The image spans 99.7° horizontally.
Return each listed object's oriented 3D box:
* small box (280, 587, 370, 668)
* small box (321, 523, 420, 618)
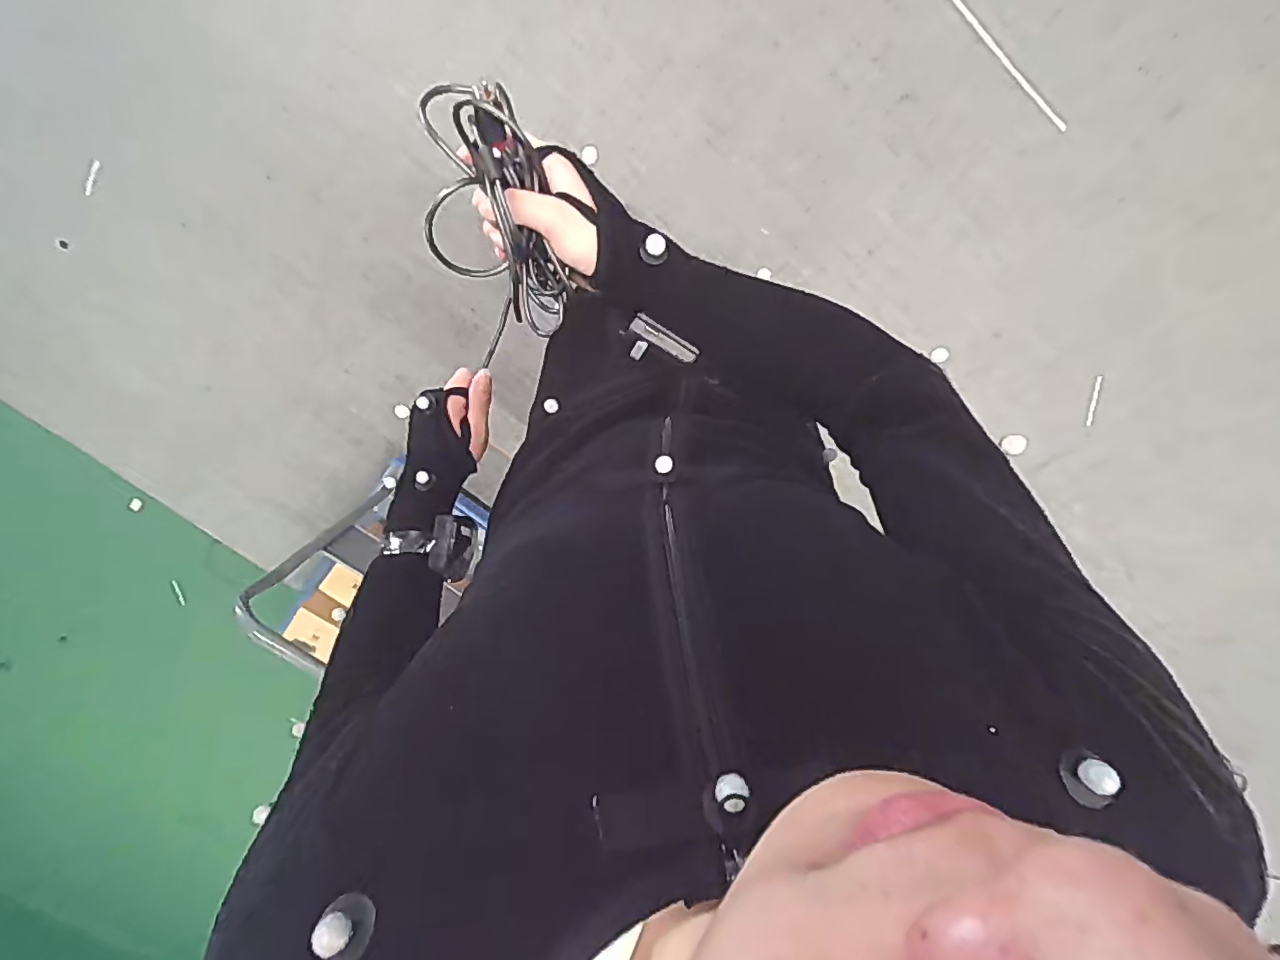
[{"bbox_3d":[-0.958,0.436,1.677,0.168,0.176,0.179,37,110,-12],"label":"small box"},{"bbox_3d":[-0.782,0.262,1.588,0.168,0.176,0.179,40,110,-12],"label":"small box"}]
